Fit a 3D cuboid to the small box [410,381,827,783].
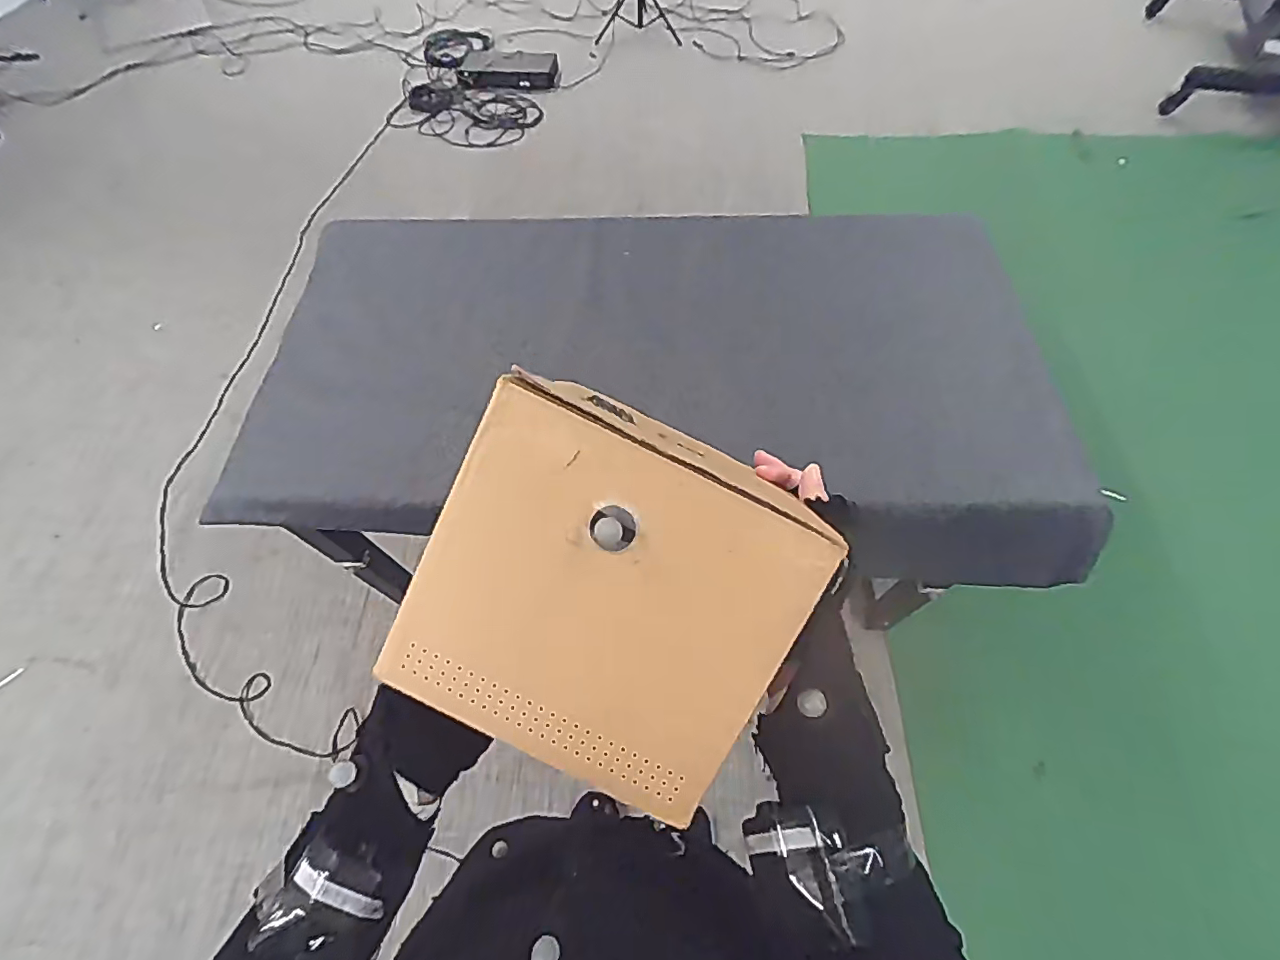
[{"bbox_3d":[-0.015,0.052,0.352,0.179,0.168,0.176,26,100,0],"label":"small box"}]
